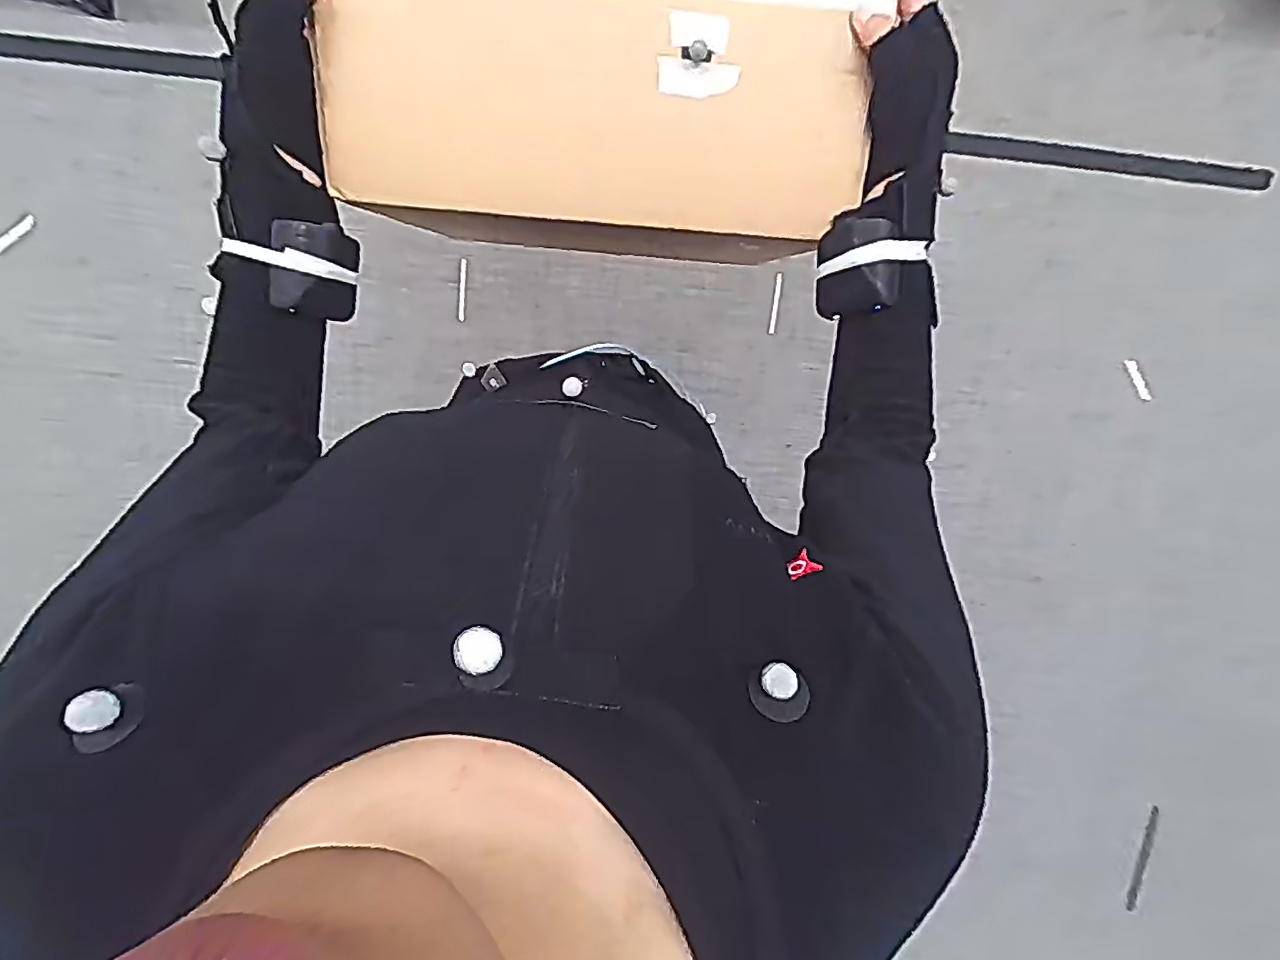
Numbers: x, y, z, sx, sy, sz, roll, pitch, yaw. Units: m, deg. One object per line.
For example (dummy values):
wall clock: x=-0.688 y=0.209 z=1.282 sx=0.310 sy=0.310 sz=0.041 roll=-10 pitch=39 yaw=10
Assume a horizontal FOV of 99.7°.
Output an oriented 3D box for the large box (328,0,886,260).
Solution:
large box: x=-0.027 y=-0.399 z=0.523 sx=0.408 sy=0.320 sz=0.320 roll=3 pitch=110 yaw=-4
